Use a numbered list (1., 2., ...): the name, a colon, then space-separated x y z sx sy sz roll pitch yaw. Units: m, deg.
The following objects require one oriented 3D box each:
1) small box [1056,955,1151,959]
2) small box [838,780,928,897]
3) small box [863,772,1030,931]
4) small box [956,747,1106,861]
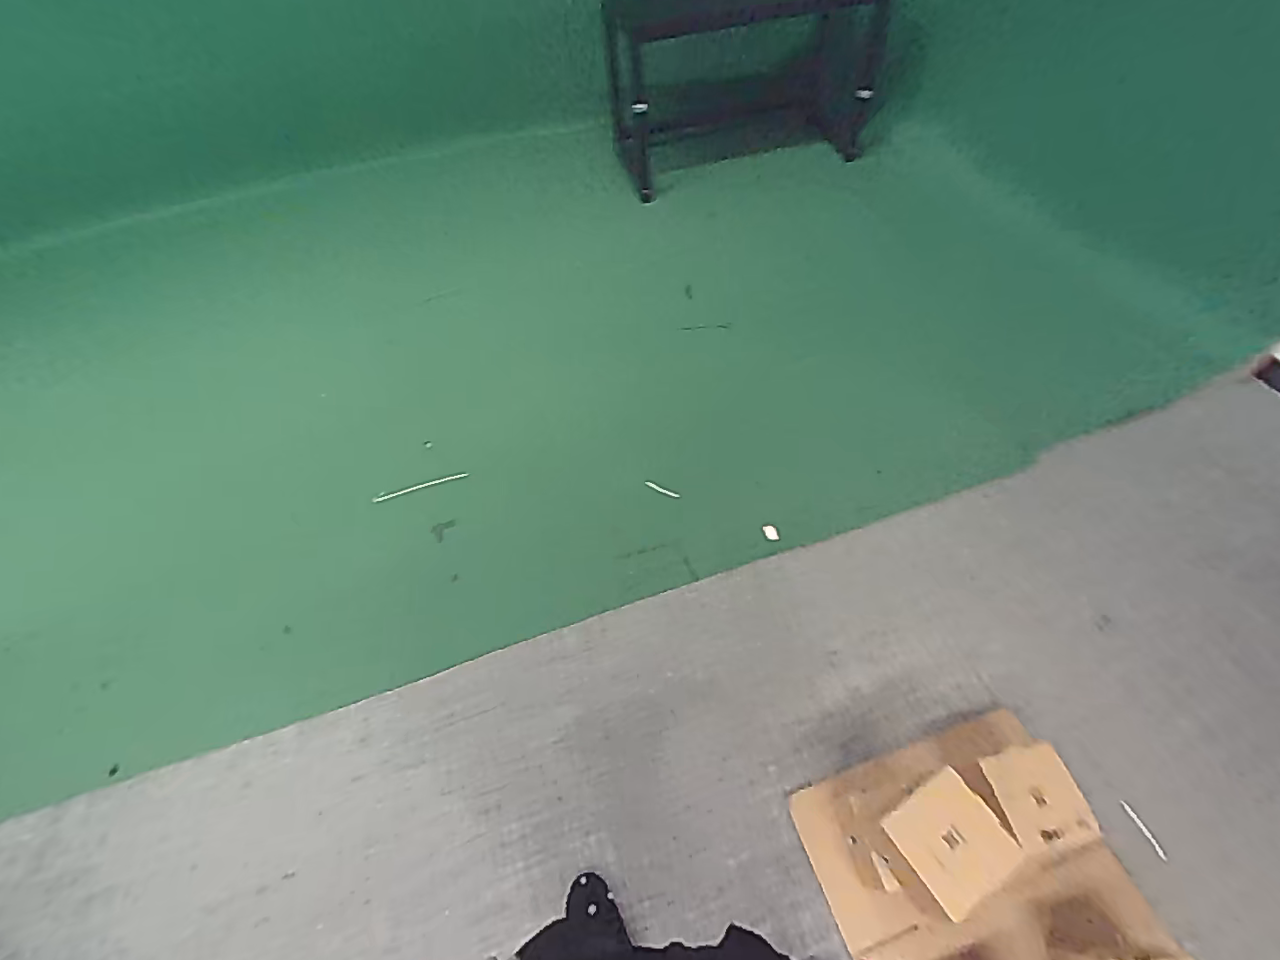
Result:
1. small box: 0.883 0.956 0.945 0.168 0.176 0.179 -4 57 1
2. small box: 0.532 0.744 1.123 0.179 0.176 0.168 -13 56 -5
3. small box: 0.538 0.664 0.979 0.179 0.176 0.168 -28 57 -14
4. small box: 0.802 0.688 1.142 0.168 0.176 0.179 -11 55 -4
